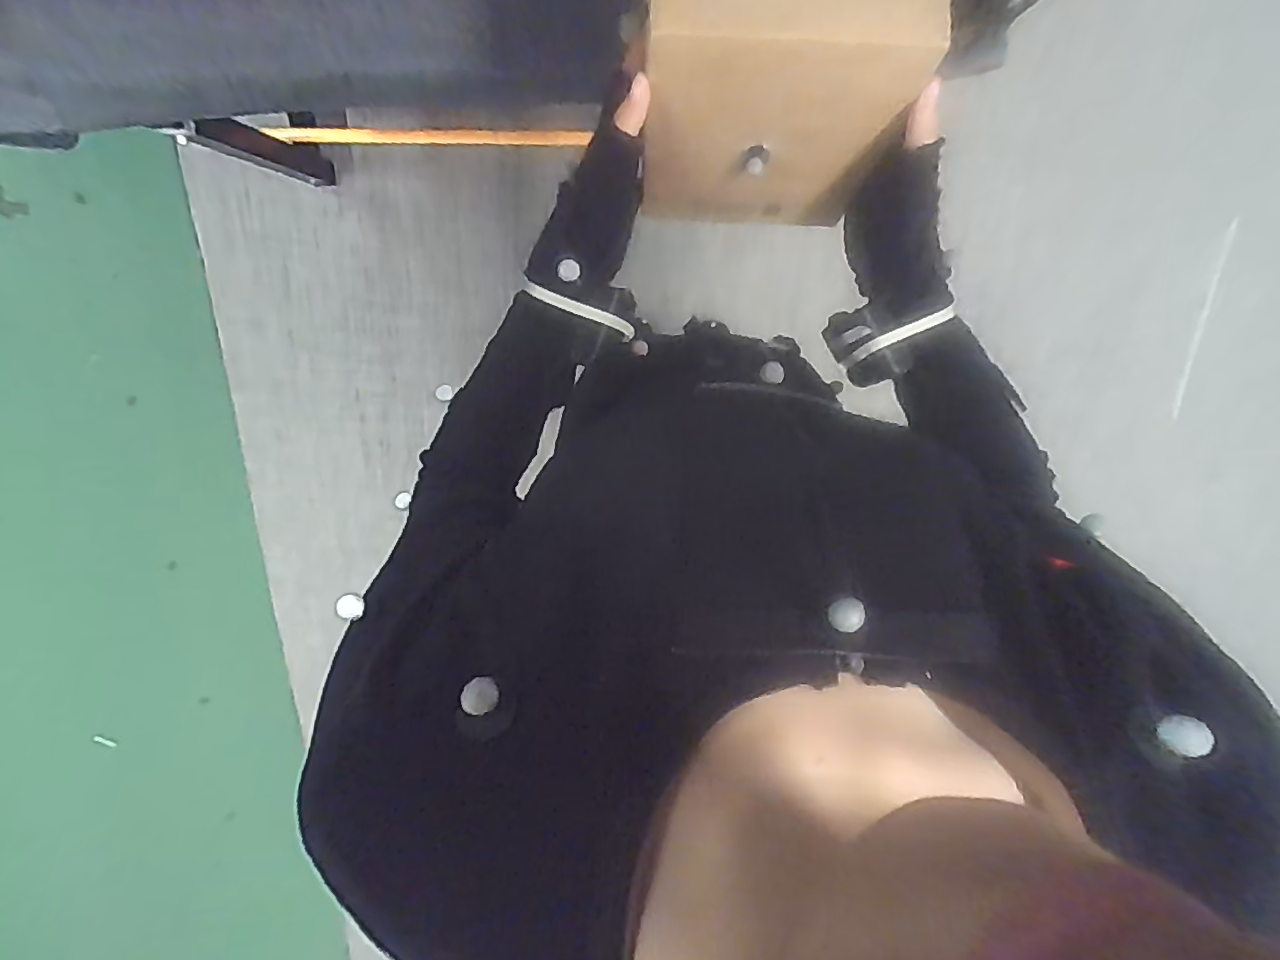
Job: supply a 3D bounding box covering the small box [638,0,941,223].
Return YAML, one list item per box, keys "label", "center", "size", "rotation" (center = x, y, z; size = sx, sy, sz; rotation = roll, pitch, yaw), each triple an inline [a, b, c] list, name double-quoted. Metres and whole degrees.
- label: "small box"
  center: [0.084, -0.310, 0.384]
  size: [0.168, 0.176, 0.179]
  rotation: [2, 81, -1]
